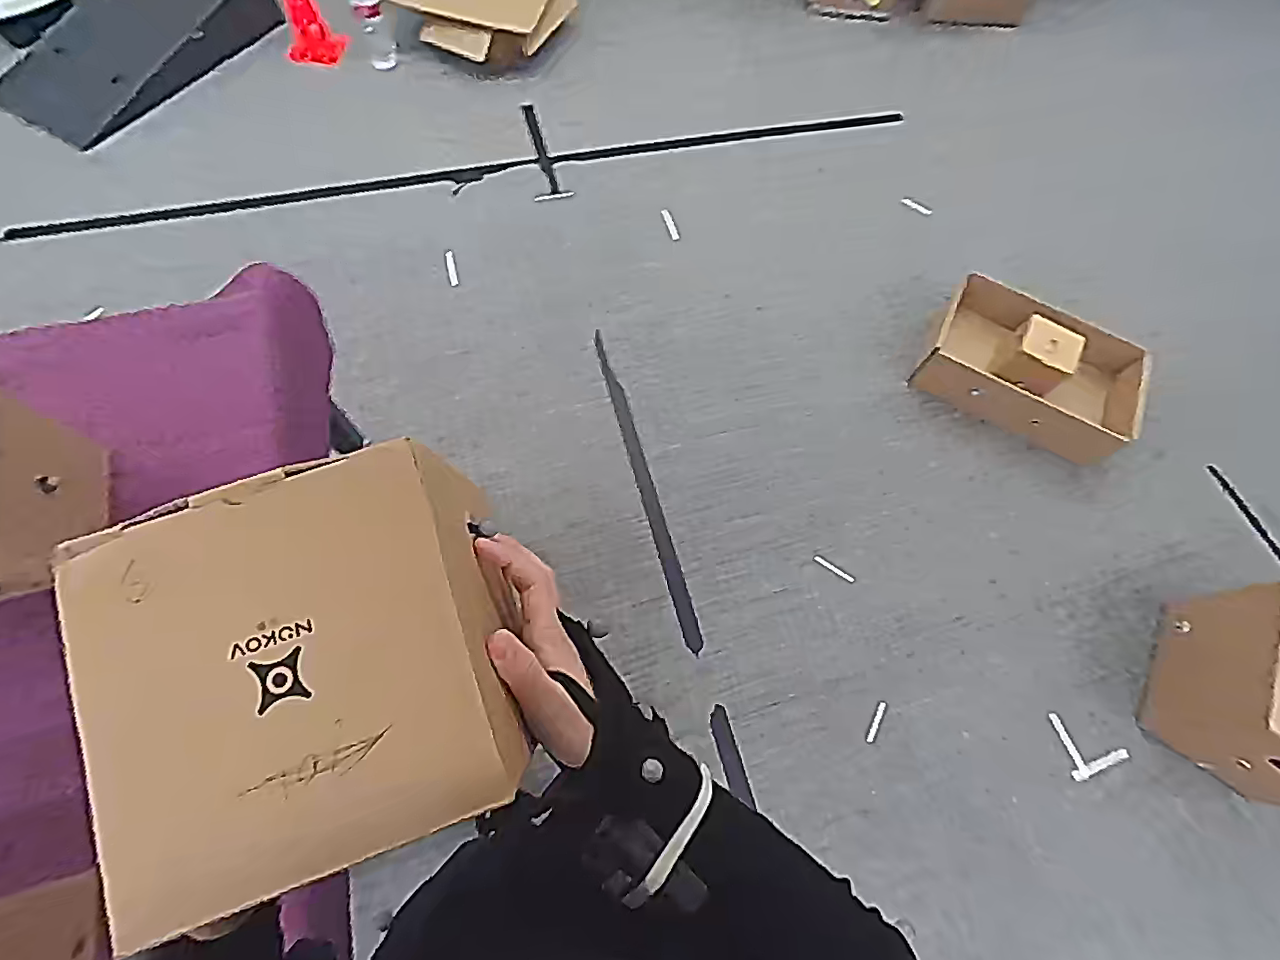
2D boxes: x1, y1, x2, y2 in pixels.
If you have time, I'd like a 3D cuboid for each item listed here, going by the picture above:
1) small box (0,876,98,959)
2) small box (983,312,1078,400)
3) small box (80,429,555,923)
[{"bbox_3d":[-0.600,0.458,0.435,0.179,0.176,0.168,-15,68,-10],"label":"small box"},{"bbox_3d":[1.242,-0.392,1.730,0.168,0.176,0.179,31,67,9],"label":"small box"},{"bbox_3d":[-0.158,0.093,0.322,0.168,0.176,0.179,-18,81,-6],"label":"small box"}]
